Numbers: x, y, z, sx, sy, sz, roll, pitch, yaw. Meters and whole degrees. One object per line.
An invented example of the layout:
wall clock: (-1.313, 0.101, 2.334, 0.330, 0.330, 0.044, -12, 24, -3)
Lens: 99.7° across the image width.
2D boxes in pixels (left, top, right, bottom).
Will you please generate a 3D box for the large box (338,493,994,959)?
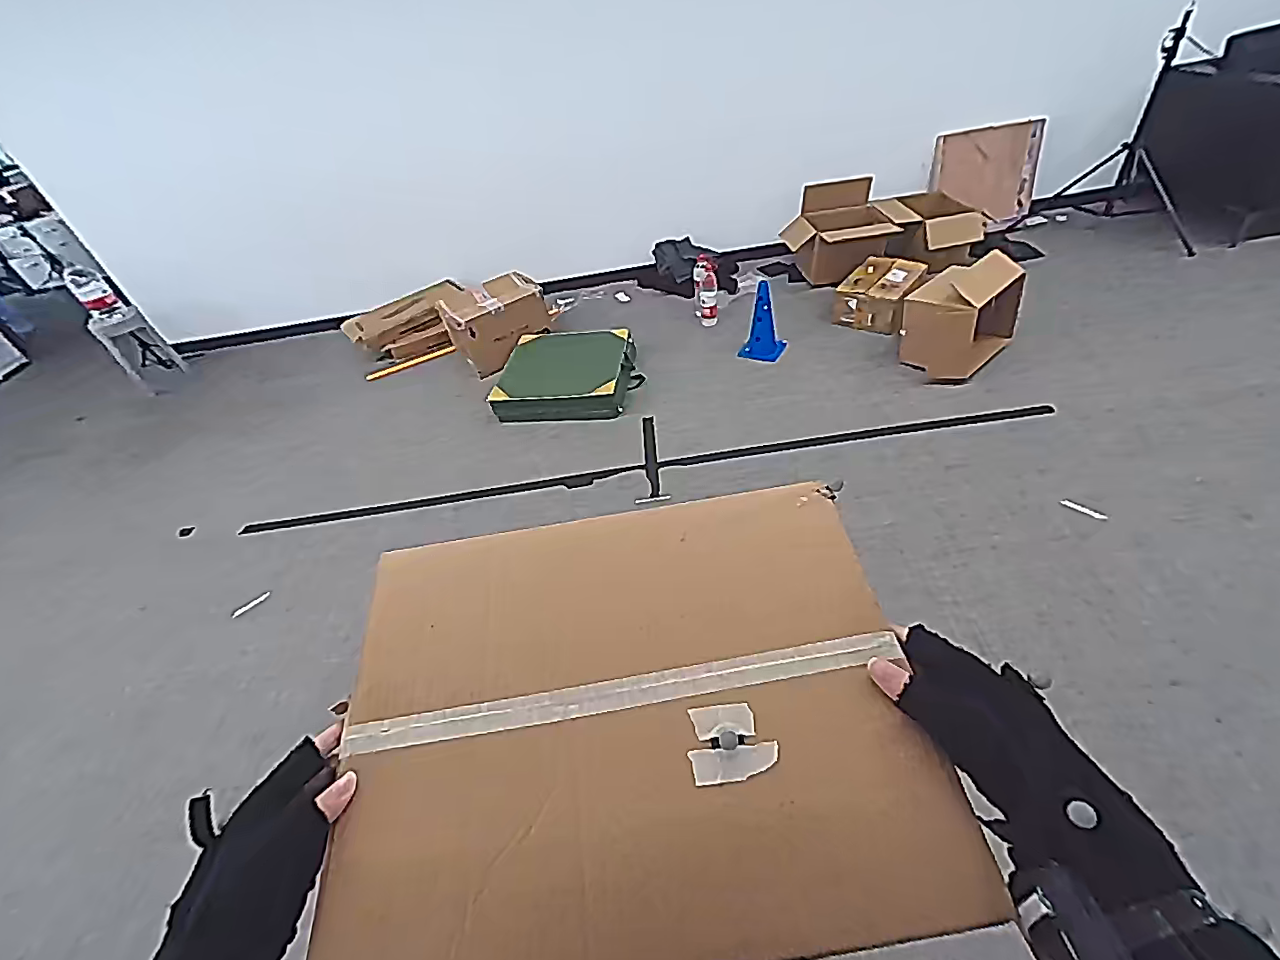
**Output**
large box: (0.006, 0.255, 0.521, 0.408, 0.320, 0.320, -9, 53, -1)
